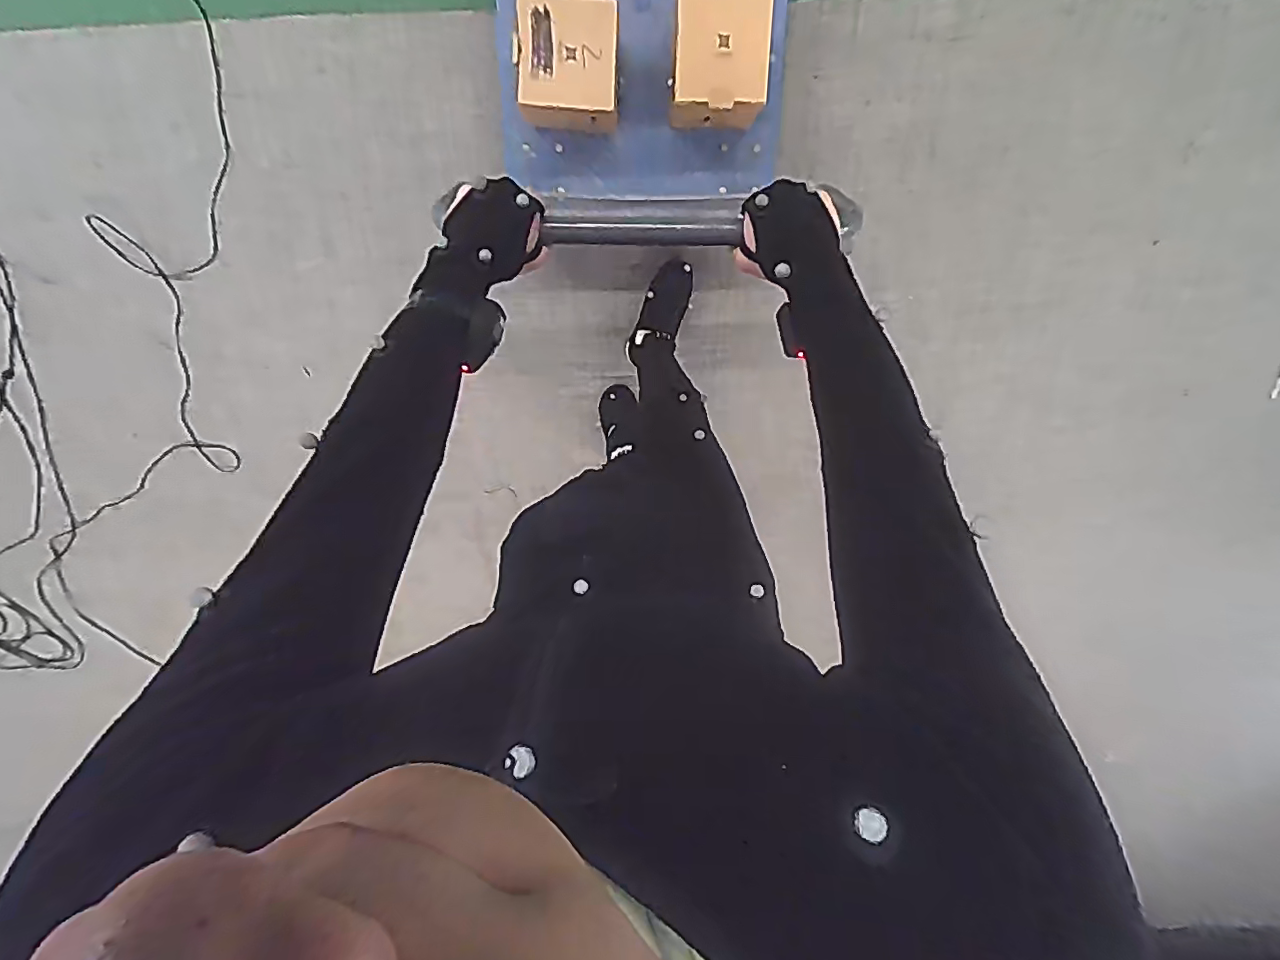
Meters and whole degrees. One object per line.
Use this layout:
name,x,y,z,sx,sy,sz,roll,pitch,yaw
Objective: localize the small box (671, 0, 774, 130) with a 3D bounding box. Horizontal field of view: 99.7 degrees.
small box,0.146,-0.787,1.023,0.168,0.176,0.179,0,112,0
